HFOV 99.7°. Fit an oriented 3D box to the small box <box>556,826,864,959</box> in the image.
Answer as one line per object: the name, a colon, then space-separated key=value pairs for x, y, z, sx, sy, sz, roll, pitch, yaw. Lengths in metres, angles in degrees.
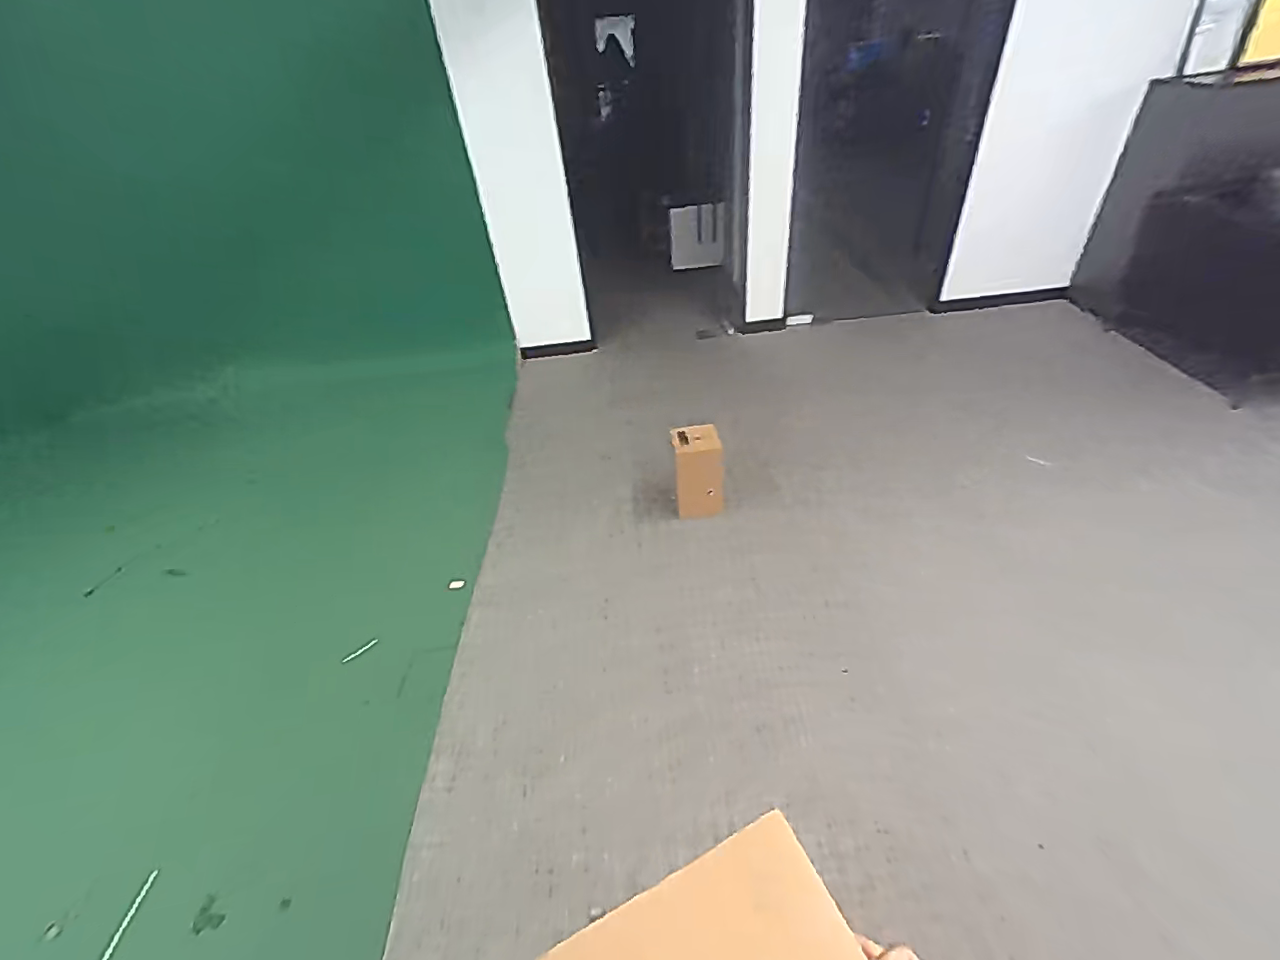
small box: x=0.064 y=0.358 z=0.336 sx=0.179 sy=0.176 sz=0.168 roll=-27 pitch=46 yaw=-9
